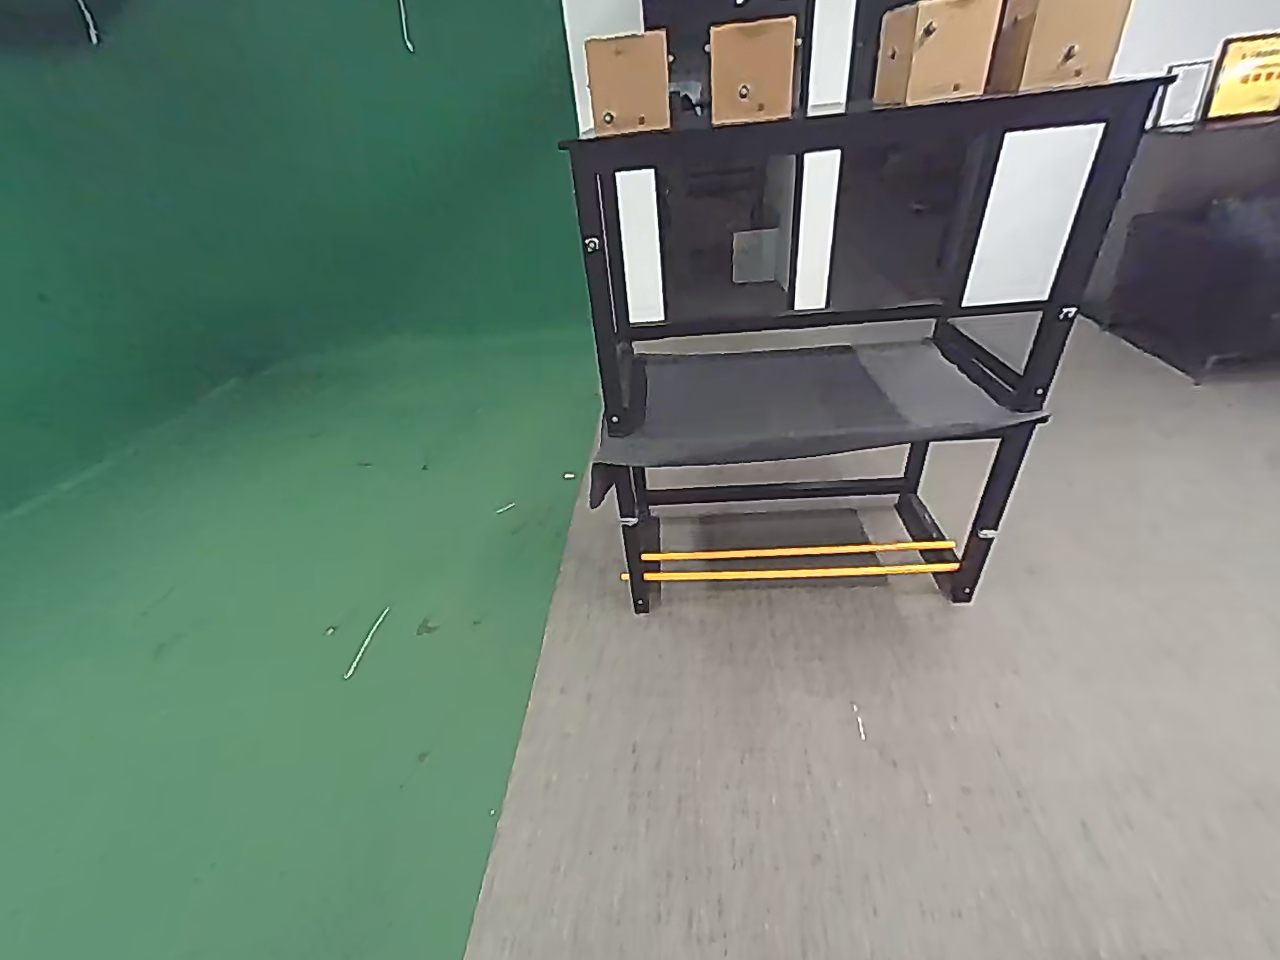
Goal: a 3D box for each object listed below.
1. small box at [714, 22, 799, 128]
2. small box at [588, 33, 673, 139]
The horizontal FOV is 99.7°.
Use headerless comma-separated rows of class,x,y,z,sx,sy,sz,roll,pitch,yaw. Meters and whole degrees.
small box,0.251,-0.873,1.177,0.168,0.176,0.179,2,36,11
small box,-0.013,-0.863,1.197,0.168,0.176,0.179,-3,33,4
